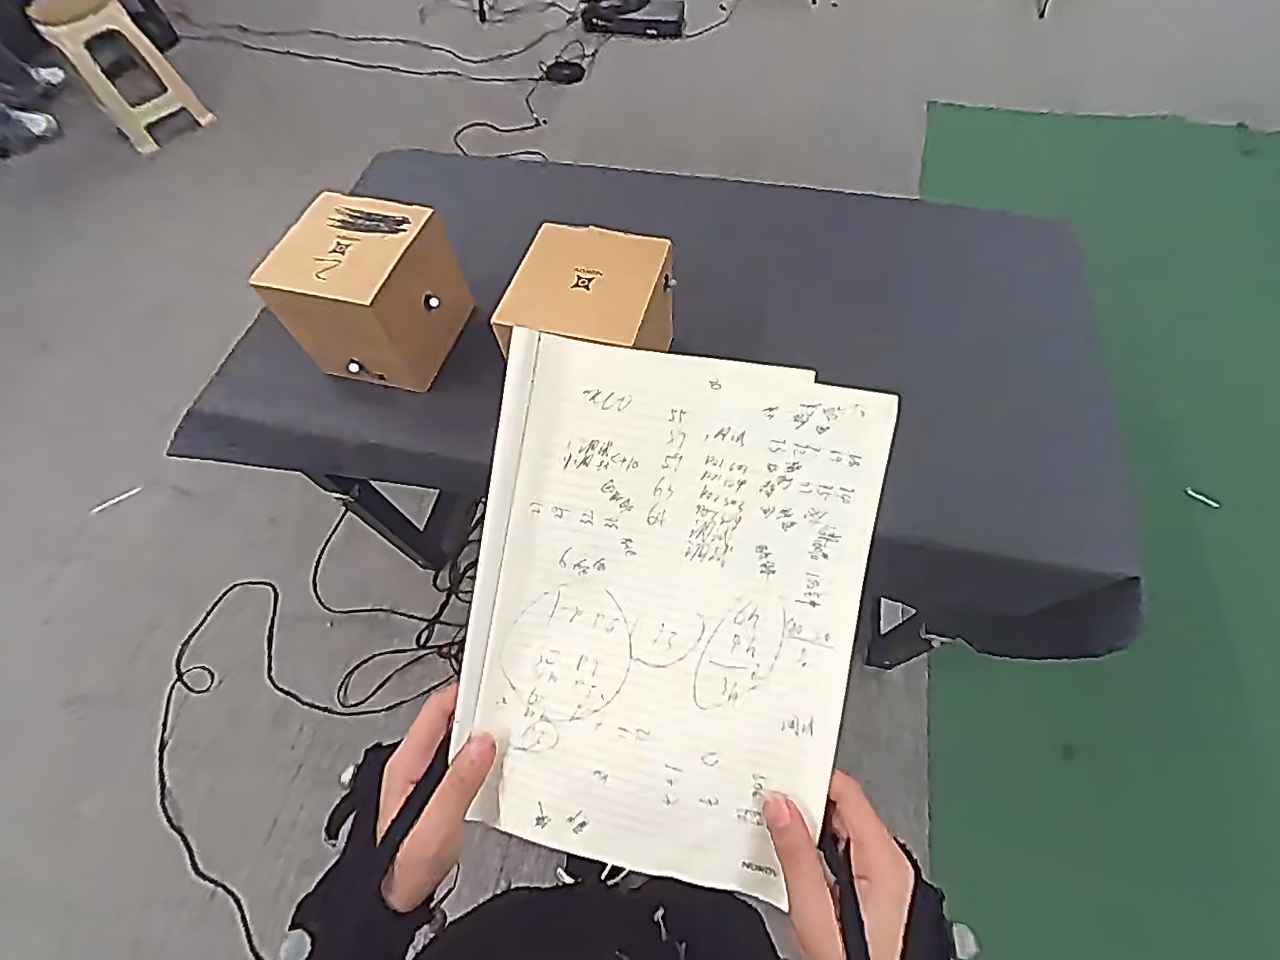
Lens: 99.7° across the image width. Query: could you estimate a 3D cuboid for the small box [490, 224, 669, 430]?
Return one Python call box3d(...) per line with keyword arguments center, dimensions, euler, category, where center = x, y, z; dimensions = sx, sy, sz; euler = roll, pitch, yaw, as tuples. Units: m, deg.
box3d(center=(-0.059, -0.186, 0.680), dimensions=(0.168, 0.176, 0.179), euler=(12, 62, 10), category="small box")
